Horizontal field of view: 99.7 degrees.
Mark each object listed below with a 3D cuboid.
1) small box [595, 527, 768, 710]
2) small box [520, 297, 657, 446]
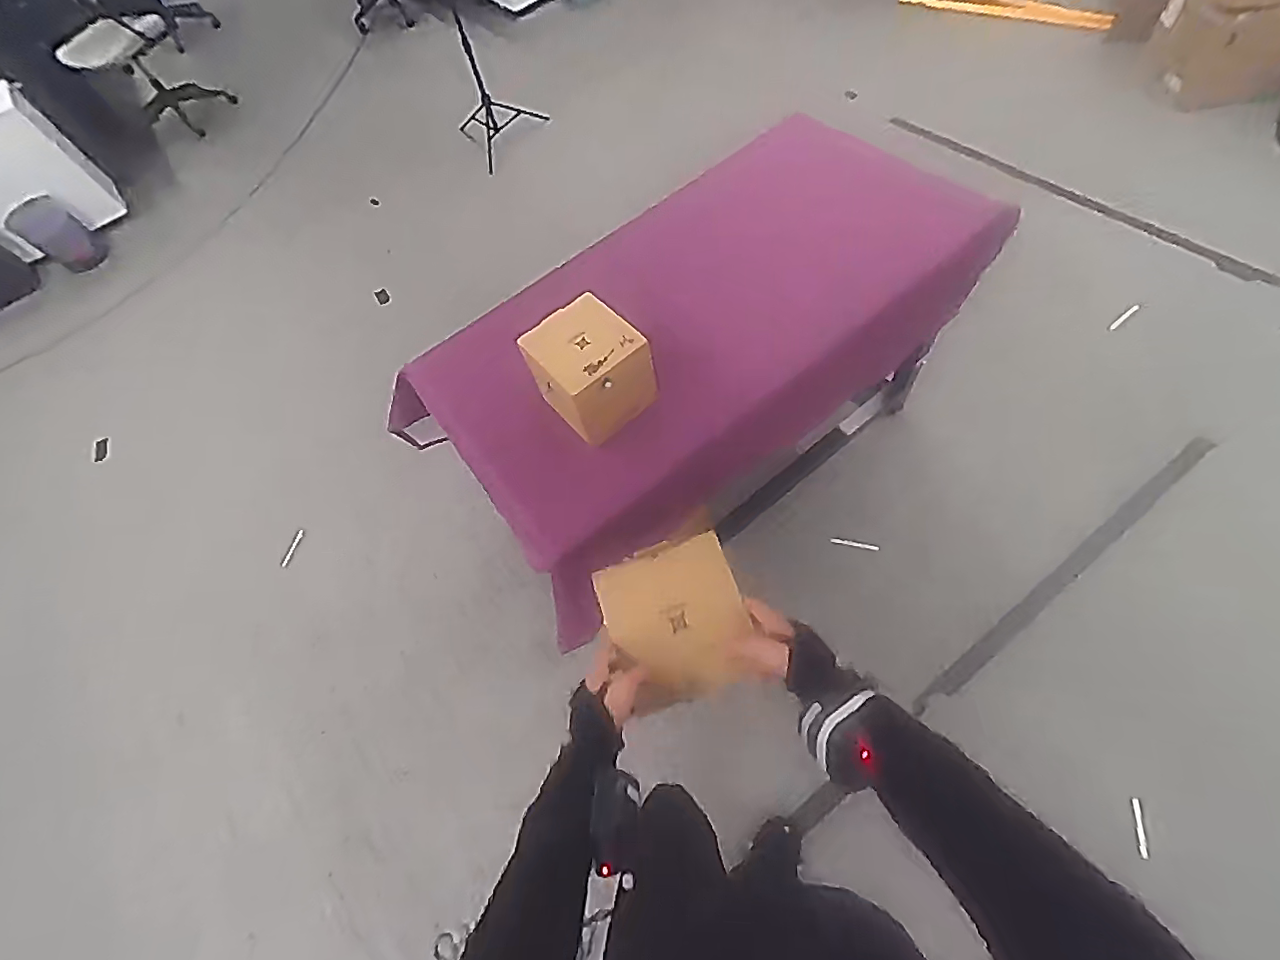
[{"bbox_3d":[0.049,0.184,0.720,0.168,0.176,0.179,-19,74,-2],"label":"small box"},{"bbox_3d":[-0.089,-0.195,1.003,0.168,0.176,0.179,-39,63,-12],"label":"small box"}]
